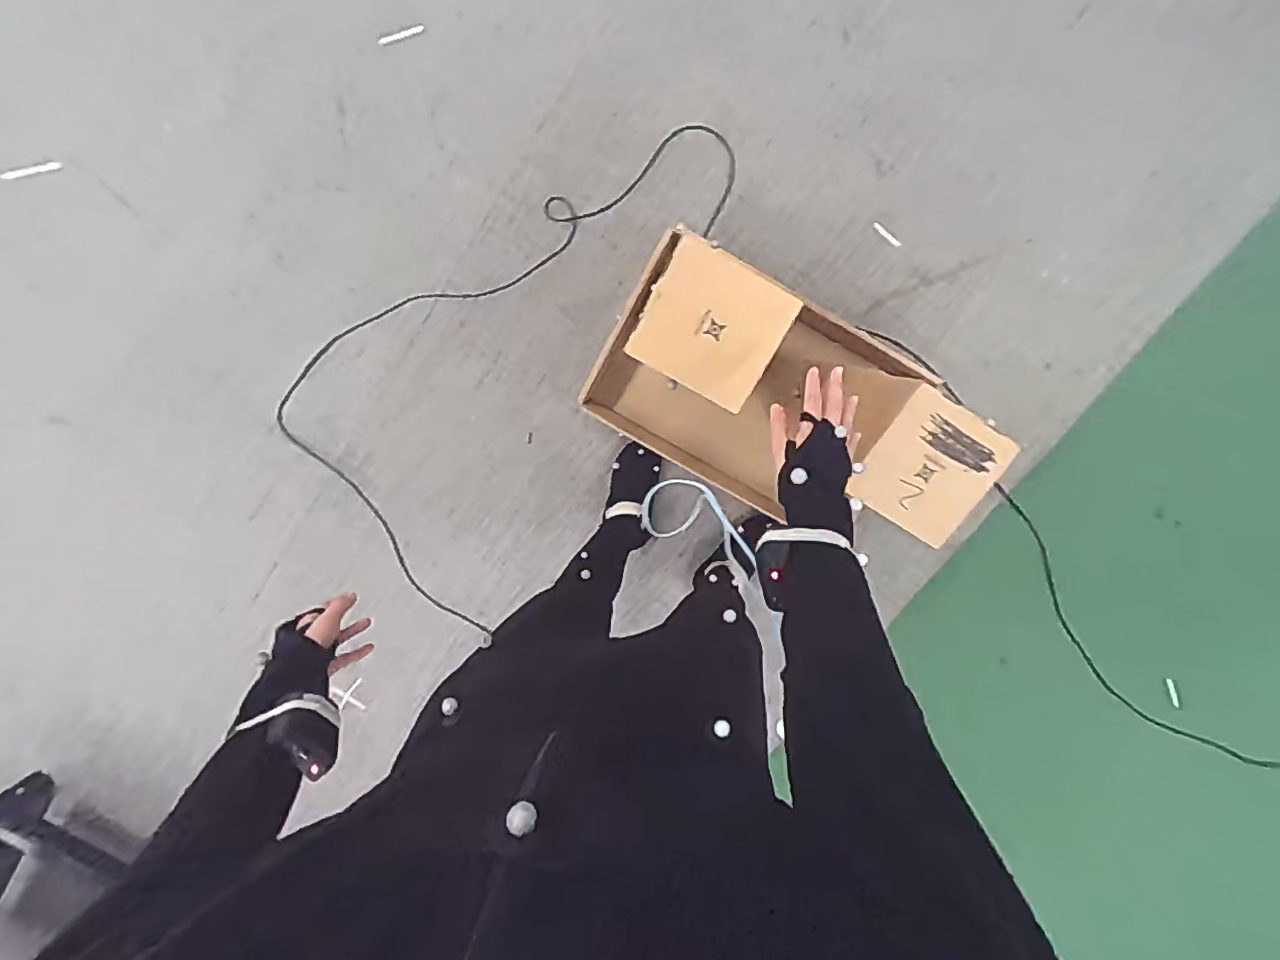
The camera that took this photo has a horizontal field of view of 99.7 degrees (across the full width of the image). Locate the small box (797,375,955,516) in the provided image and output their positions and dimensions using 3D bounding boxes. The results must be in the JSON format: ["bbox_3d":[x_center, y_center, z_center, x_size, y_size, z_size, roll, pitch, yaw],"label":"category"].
[{"bbox_3d":[0.401,-0.069,0.961,0.168,0.176,0.179,33,102,-6],"label":"small box"}]

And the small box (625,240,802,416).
[{"bbox_3d":[0.098,-0.214,0.775,0.179,0.176,0.168,29,104,-4],"label":"small box"}]

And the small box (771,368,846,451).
[{"bbox_3d":[0.396,-0.115,1.119,0.179,0.176,0.168,34,102,-5],"label":"small box"}]
